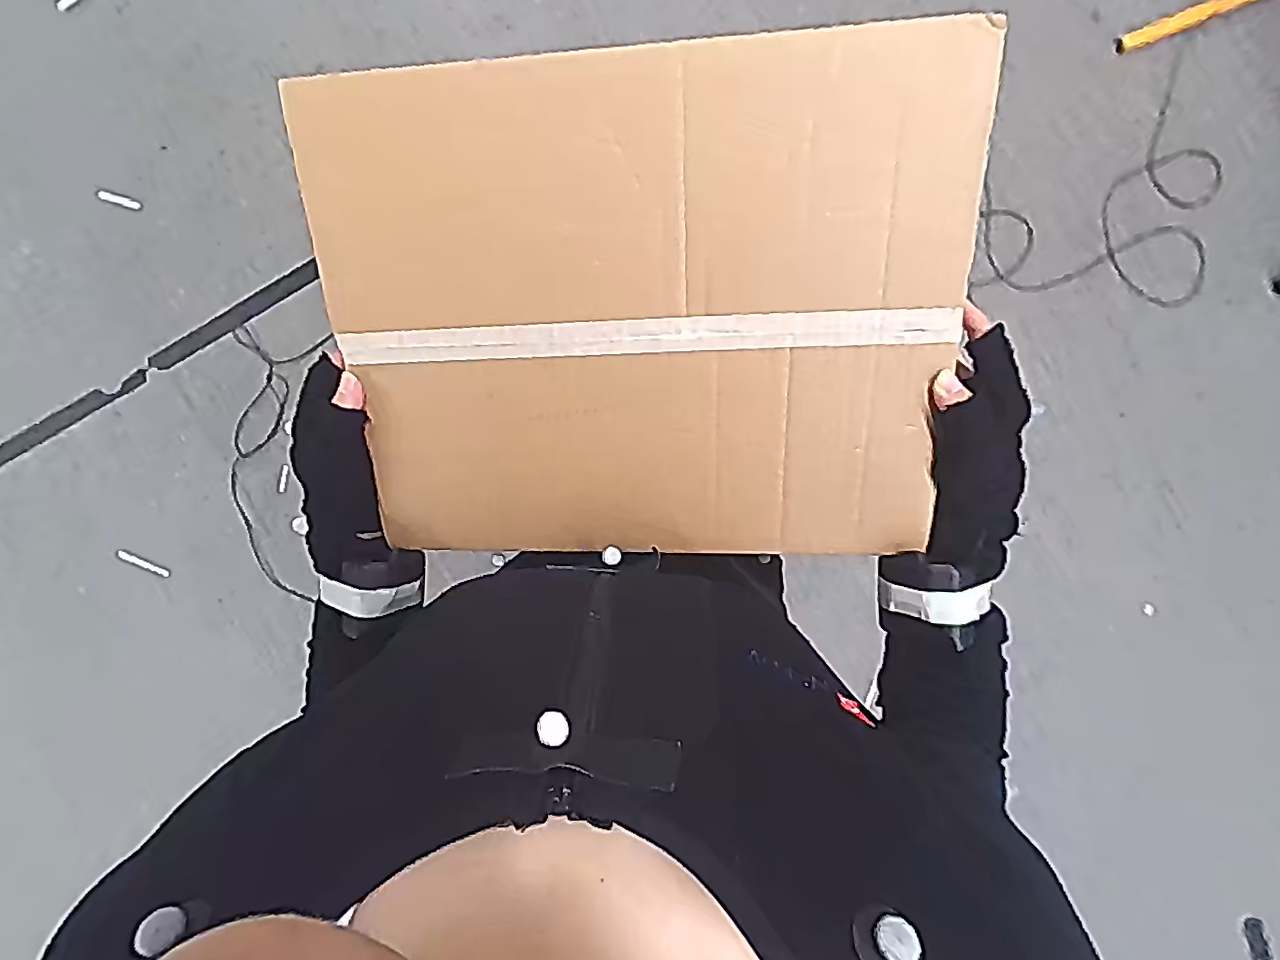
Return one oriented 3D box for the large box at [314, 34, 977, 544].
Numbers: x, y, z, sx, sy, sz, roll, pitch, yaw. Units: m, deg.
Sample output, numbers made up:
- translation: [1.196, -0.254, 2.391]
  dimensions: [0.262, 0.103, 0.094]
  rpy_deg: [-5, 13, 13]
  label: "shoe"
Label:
- translation: [0.011, -0.148, 0.507]
  dimensions: [0.408, 0.320, 0.320]
  rpy_deg: [-1, 112, 6]
  label: "large box"
